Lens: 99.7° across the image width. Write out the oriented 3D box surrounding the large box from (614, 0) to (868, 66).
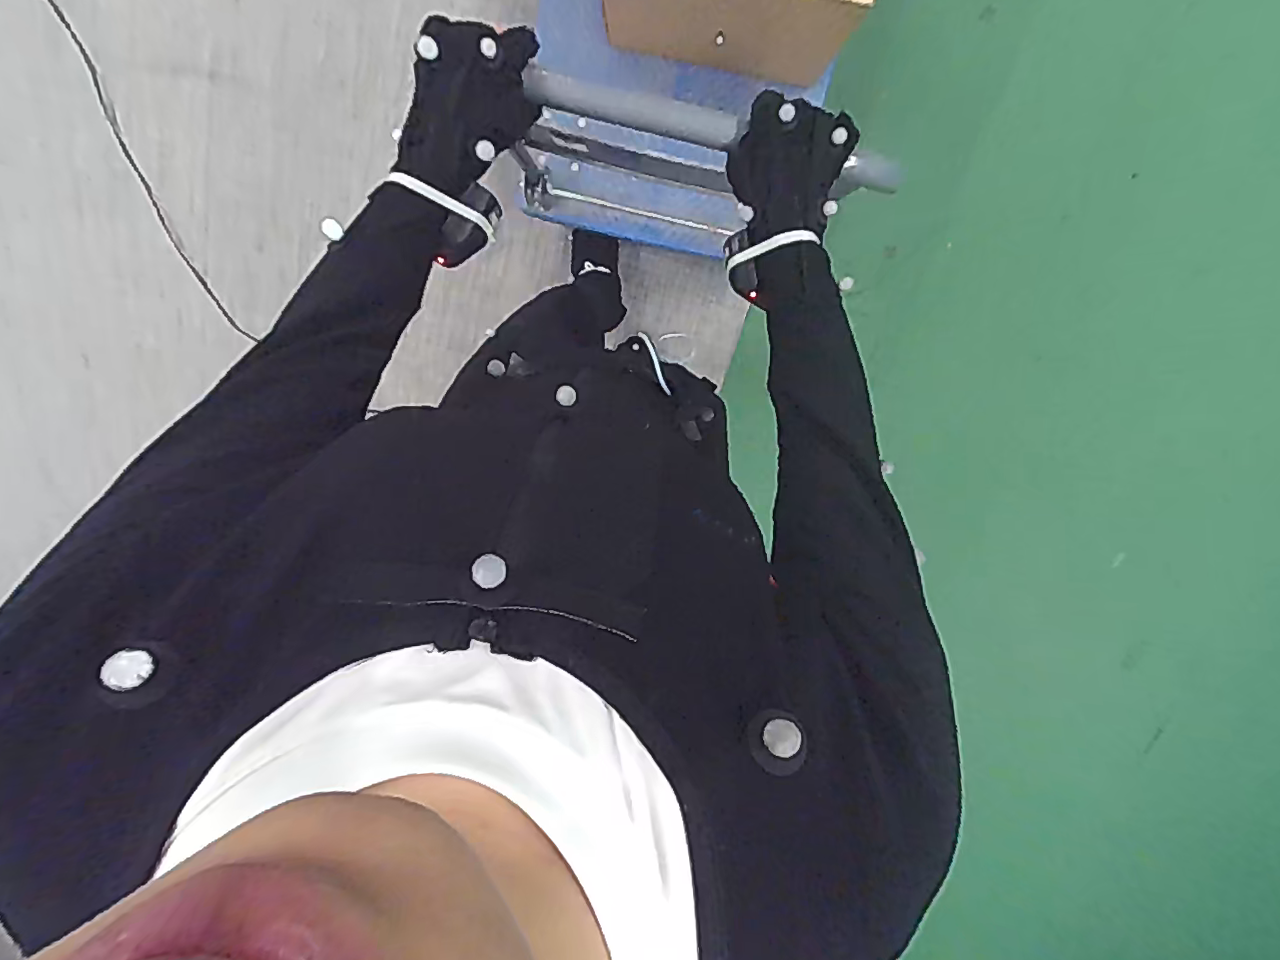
[{"bbox_3d":[0.173,-0.920,0.859,0.408,0.320,0.320,10,109,-1],"label":"large box"}]
